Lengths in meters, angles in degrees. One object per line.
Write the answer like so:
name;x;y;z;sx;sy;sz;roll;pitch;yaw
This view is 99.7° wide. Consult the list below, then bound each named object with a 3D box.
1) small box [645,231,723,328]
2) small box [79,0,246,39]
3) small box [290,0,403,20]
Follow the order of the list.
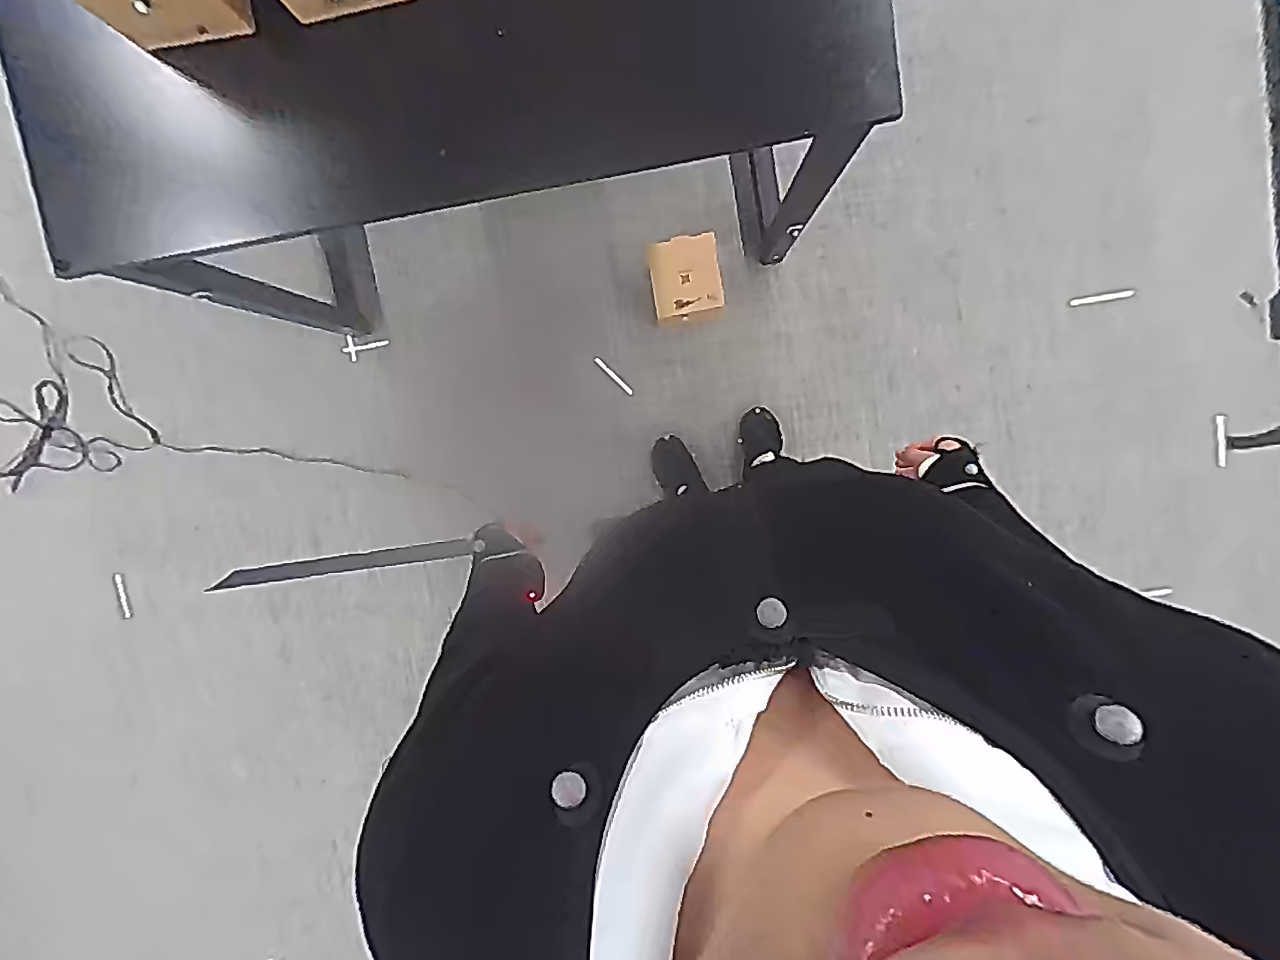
small box;0.109;-0.497;1.362;0.168;0.176;0.179;-10;95;5
small box;-0.618;-0.675;0.649;0.168;0.176;0.179;-6;96;3
small box;-0.396;-0.702;0.633;0.168;0.176;0.179;-10;97;4
